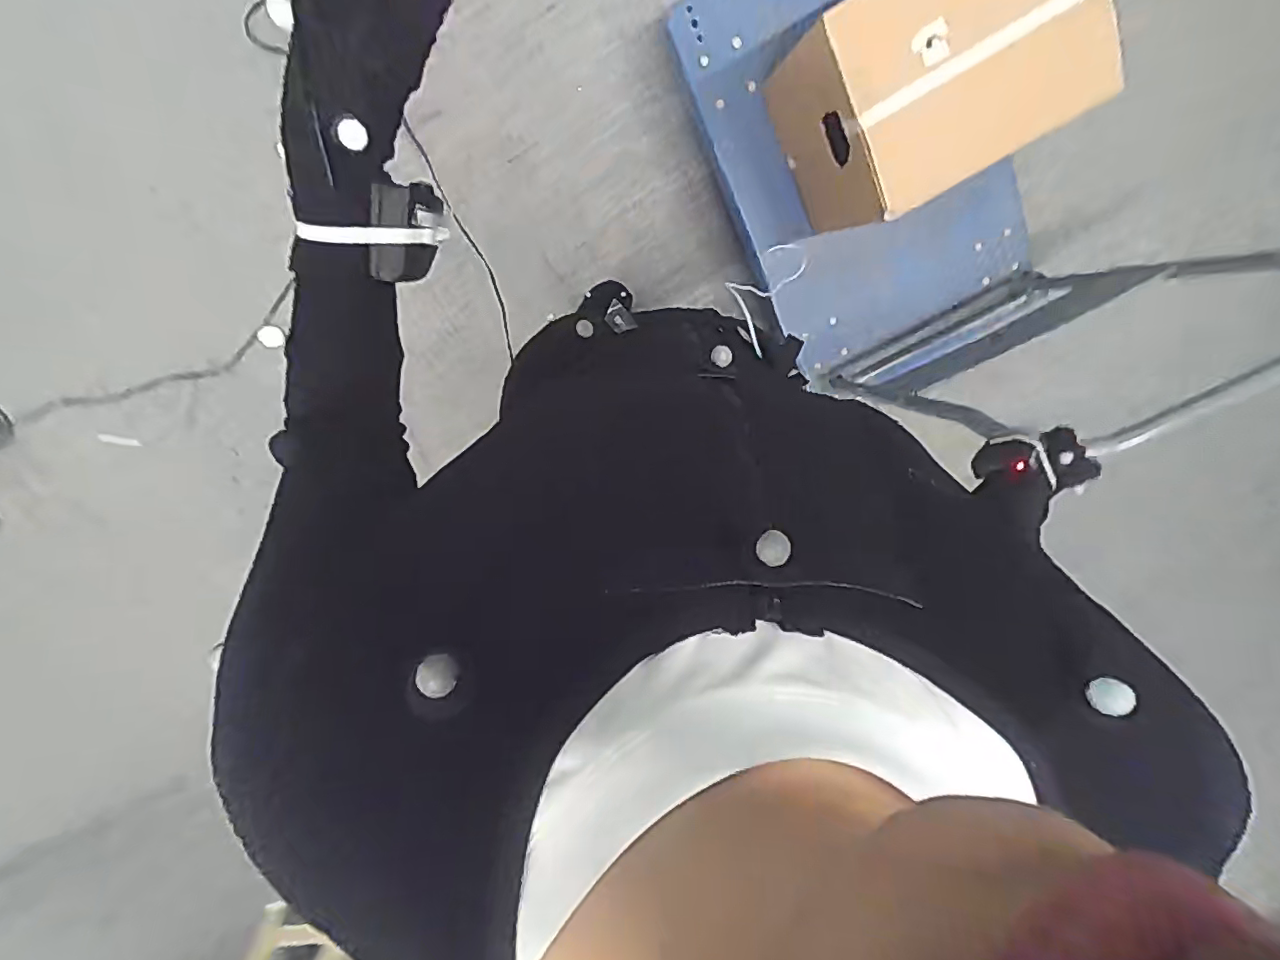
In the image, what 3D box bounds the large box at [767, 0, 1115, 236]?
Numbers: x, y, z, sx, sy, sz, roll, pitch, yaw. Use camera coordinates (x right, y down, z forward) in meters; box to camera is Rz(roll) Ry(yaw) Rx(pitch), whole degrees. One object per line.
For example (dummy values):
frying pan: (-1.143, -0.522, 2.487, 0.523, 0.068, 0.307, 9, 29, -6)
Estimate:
large box: (0.505, -0.697, 0.973, 0.408, 0.320, 0.320, -29, 109, 6)
